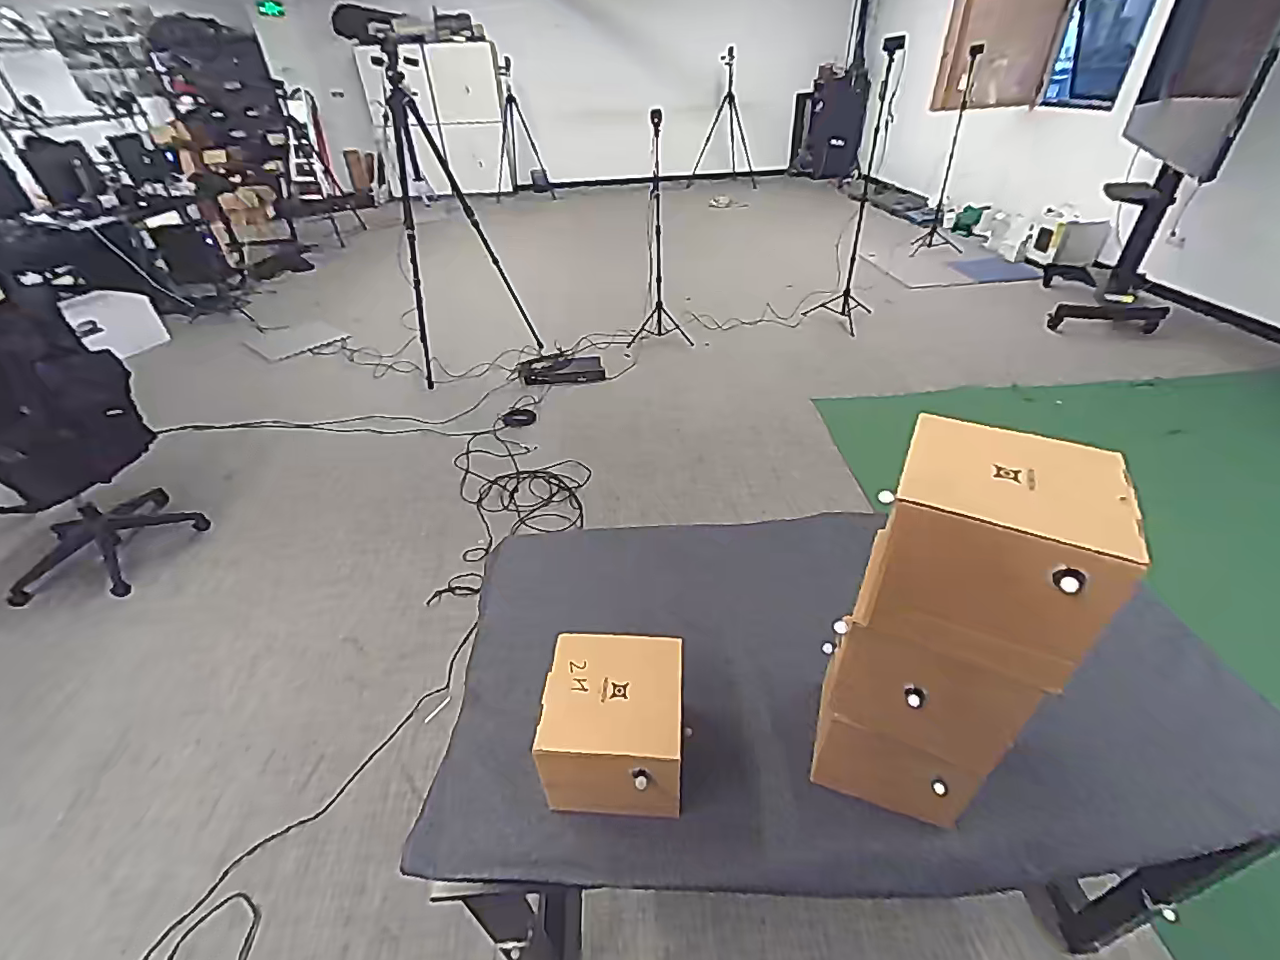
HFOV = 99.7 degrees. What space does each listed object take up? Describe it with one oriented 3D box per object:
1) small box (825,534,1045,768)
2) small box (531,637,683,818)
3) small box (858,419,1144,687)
[{"bbox_3d":[0.330,0.194,0.622,0.179,0.176,0.168,16,40,25],"label":"small box"},{"bbox_3d":[-0.032,0.335,0.733,0.179,0.176,0.168,1,38,5],"label":"small box"},{"bbox_3d":[0.327,0.065,0.523,0.179,0.176,0.168,17,41,24],"label":"small box"}]
